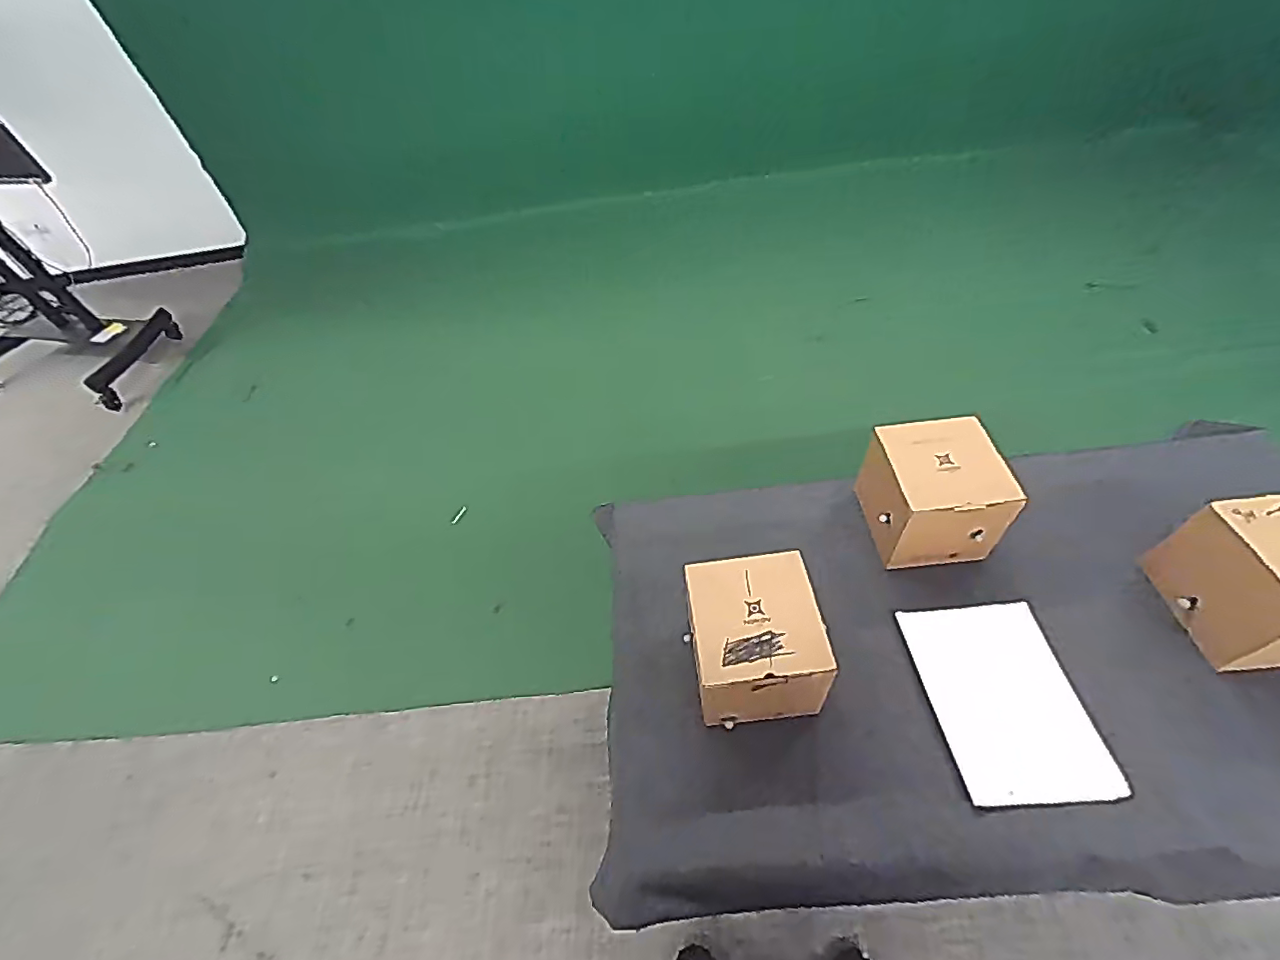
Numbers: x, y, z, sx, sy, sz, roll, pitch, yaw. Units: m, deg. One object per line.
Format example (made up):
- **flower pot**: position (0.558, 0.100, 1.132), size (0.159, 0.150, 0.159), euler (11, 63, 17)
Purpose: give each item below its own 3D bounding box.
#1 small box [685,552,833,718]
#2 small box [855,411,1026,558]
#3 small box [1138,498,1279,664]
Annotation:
- **small box**: position (0.159, 0.228, 0.773), size (0.168, 0.176, 0.179), euler (-7, 50, 1)
- **small box**: position (0.471, 0.016, 0.881), size (0.168, 0.176, 0.179), euler (-6, 50, 2)
- **small box**: position (0.861, 0.142, 0.741), size (0.168, 0.176, 0.179), euler (-6, 52, 3)
